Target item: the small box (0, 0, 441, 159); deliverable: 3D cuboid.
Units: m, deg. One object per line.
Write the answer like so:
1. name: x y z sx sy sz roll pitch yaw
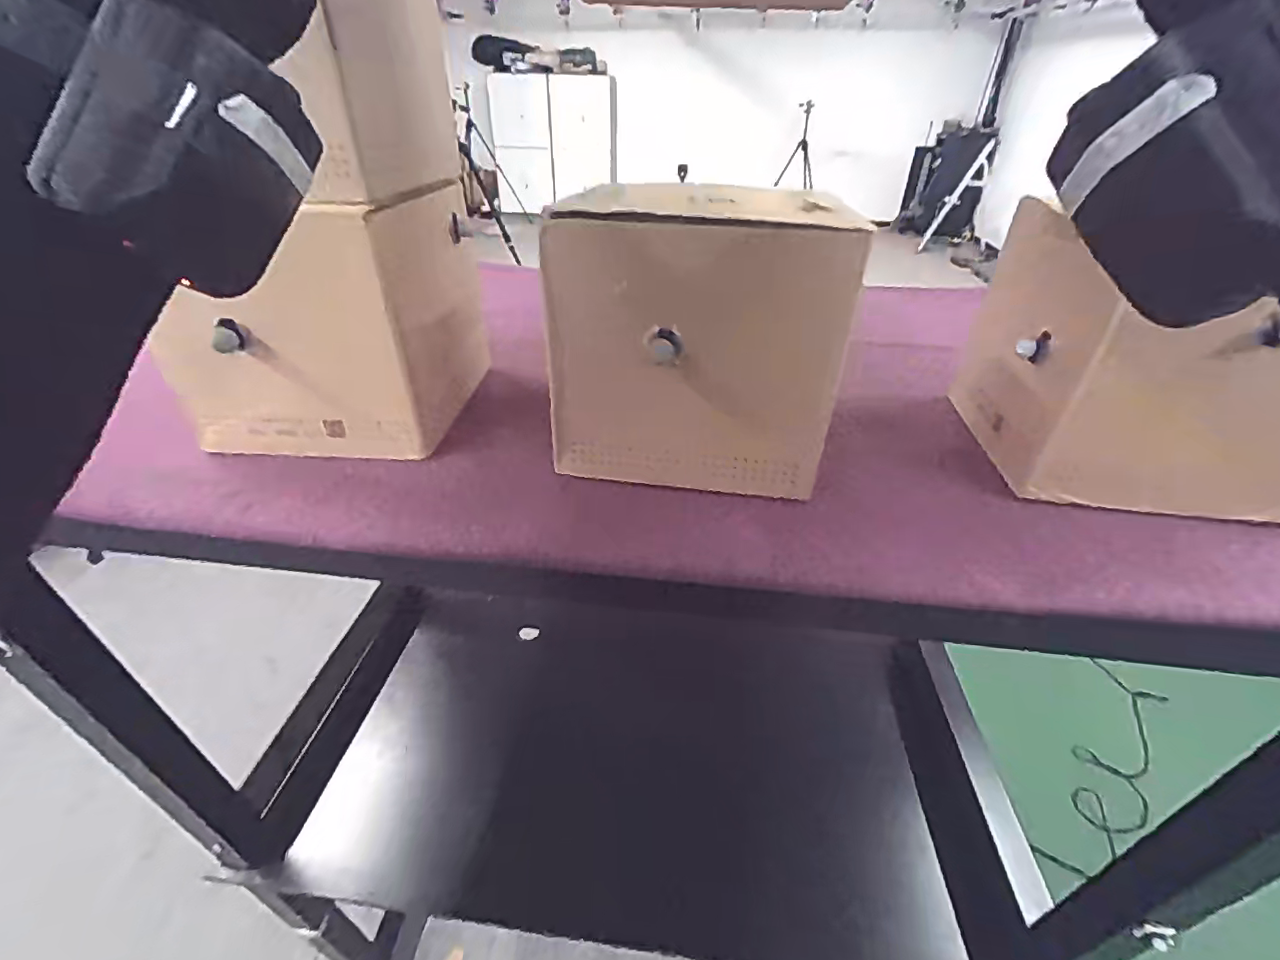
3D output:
1. small box: -0.231 -0.288 0.312 0.168 0.176 0.179 5 35 1

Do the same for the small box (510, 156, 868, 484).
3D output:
1. small box: 0.032 -0.113 0.365 0.179 0.176 0.168 7 36 7

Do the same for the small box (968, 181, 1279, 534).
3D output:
1. small box: 0.339 -0.085 0.346 0.179 0.176 0.168 9 36 9
